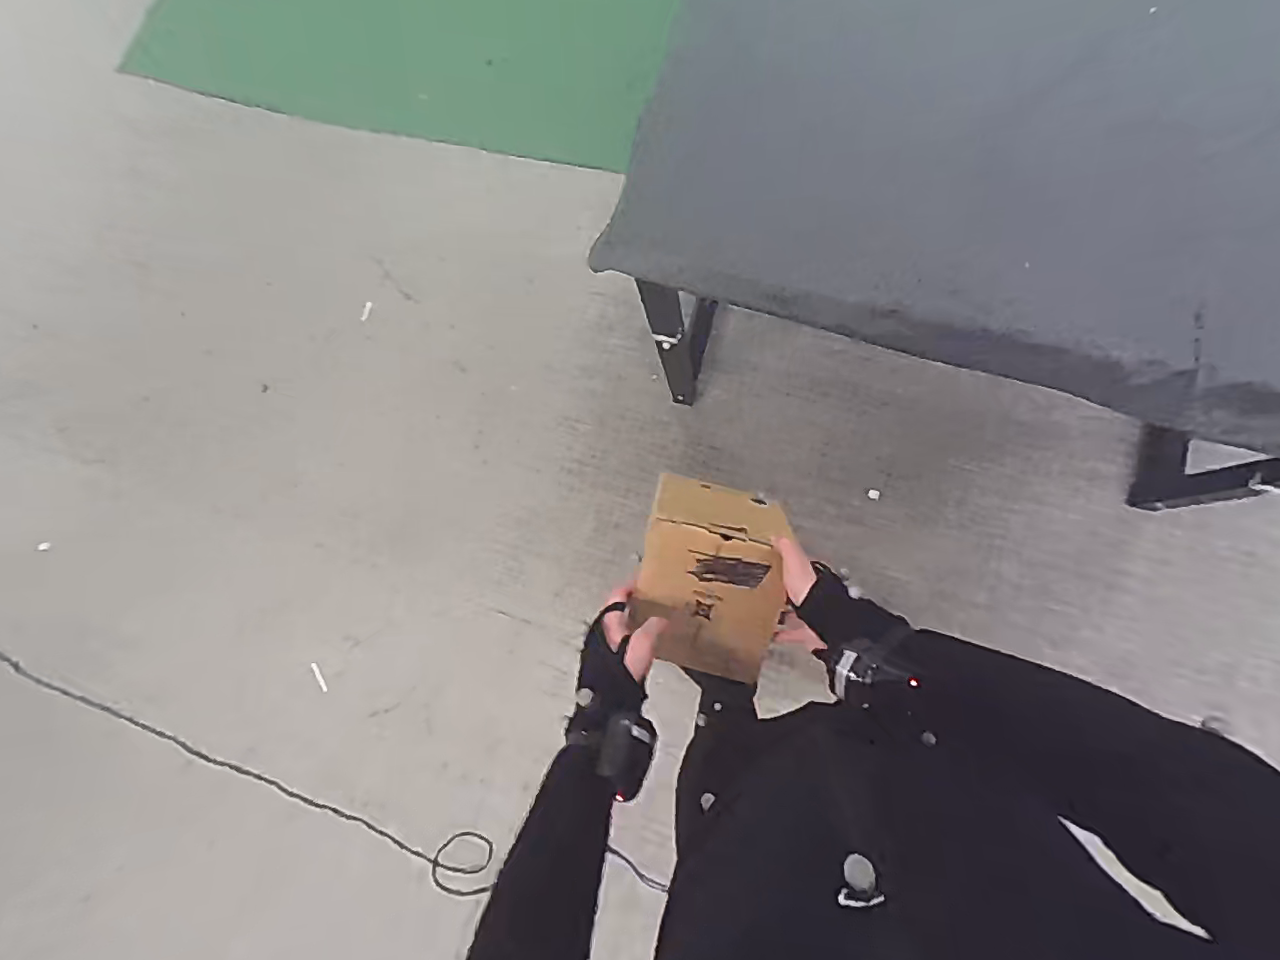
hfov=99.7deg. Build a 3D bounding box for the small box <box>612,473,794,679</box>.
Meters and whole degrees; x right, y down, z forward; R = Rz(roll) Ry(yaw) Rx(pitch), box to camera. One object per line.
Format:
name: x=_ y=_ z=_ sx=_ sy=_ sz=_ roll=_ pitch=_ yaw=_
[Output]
small box: x=0.073 y=0.107 z=0.676 sx=0.168 sy=0.176 sz=0.179 roll=15 pitch=109 yaw=2
